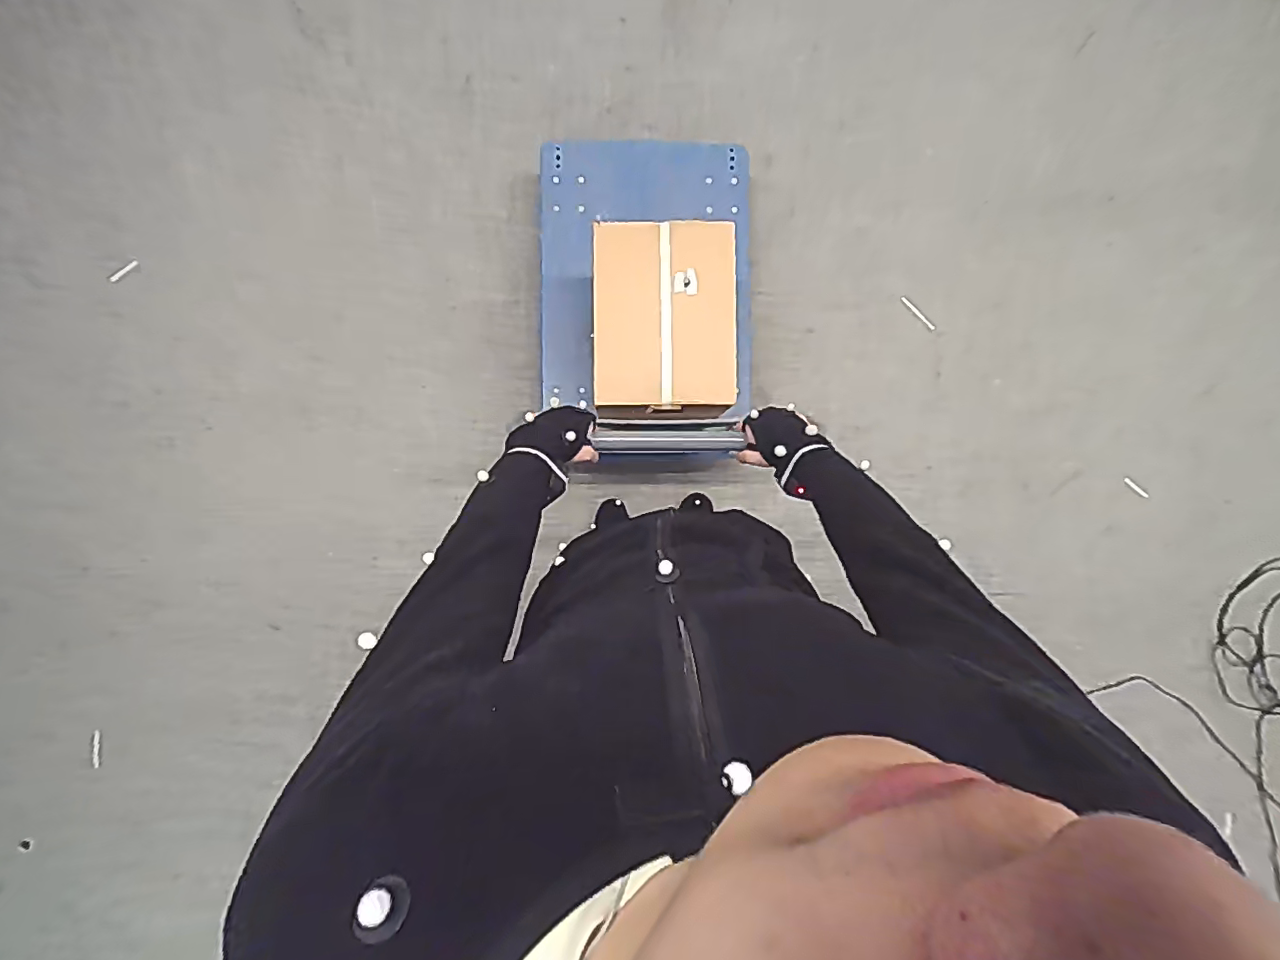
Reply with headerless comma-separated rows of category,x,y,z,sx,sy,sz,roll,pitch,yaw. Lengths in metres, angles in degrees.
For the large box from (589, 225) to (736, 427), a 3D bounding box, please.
large box,0.046,-0.353,1.329,0.320,0.320,0.408,-1,87,-2
